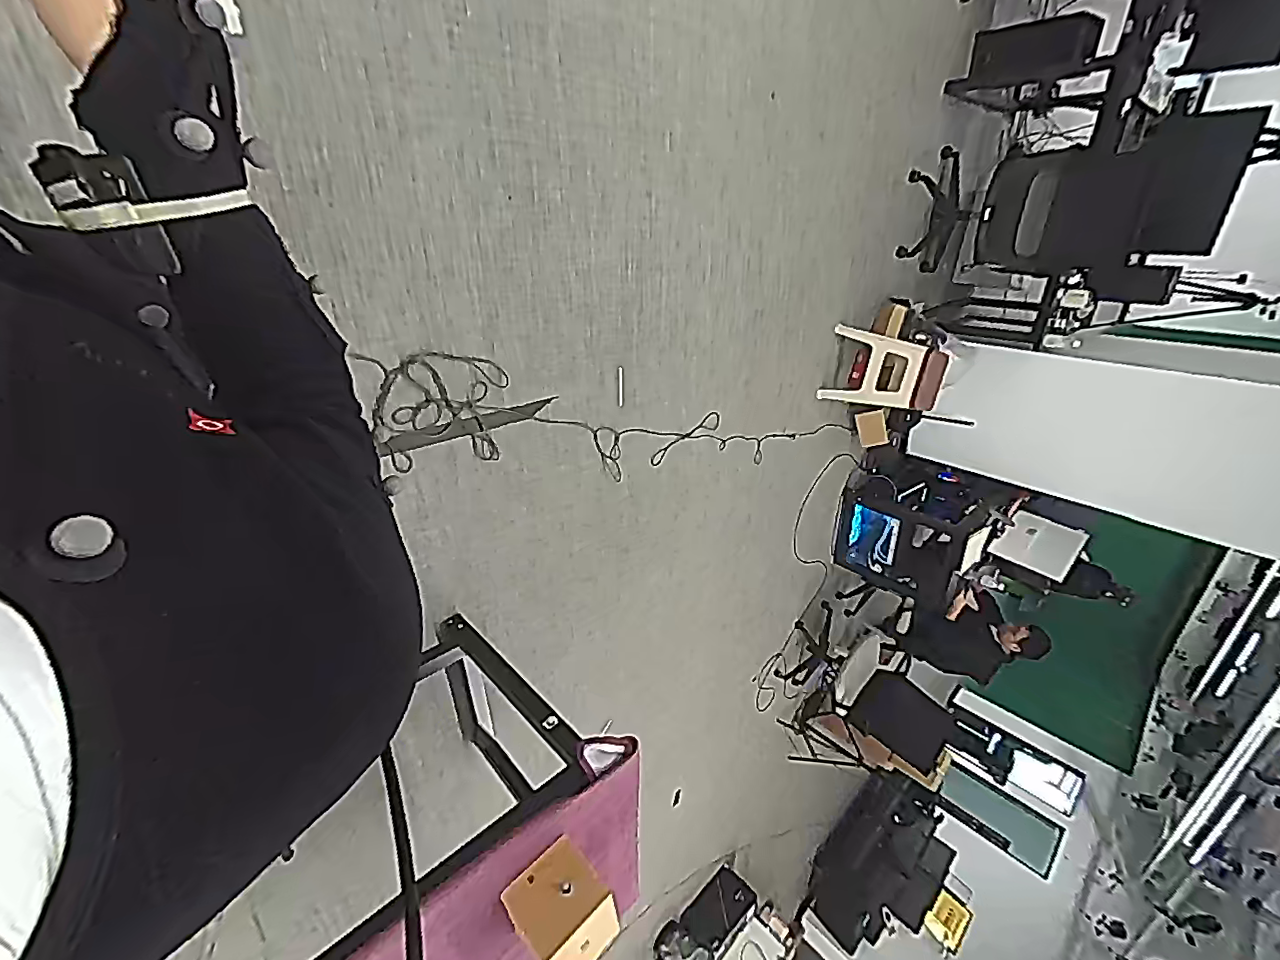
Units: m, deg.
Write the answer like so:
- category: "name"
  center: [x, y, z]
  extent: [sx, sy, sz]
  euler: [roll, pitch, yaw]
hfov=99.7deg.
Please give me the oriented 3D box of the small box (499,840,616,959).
- category: "small box"
  center: [-0.173, 0.907, 1.133]
  extent: [0.168, 0.176, 0.179]
  euler: [-29, 128, -34]
